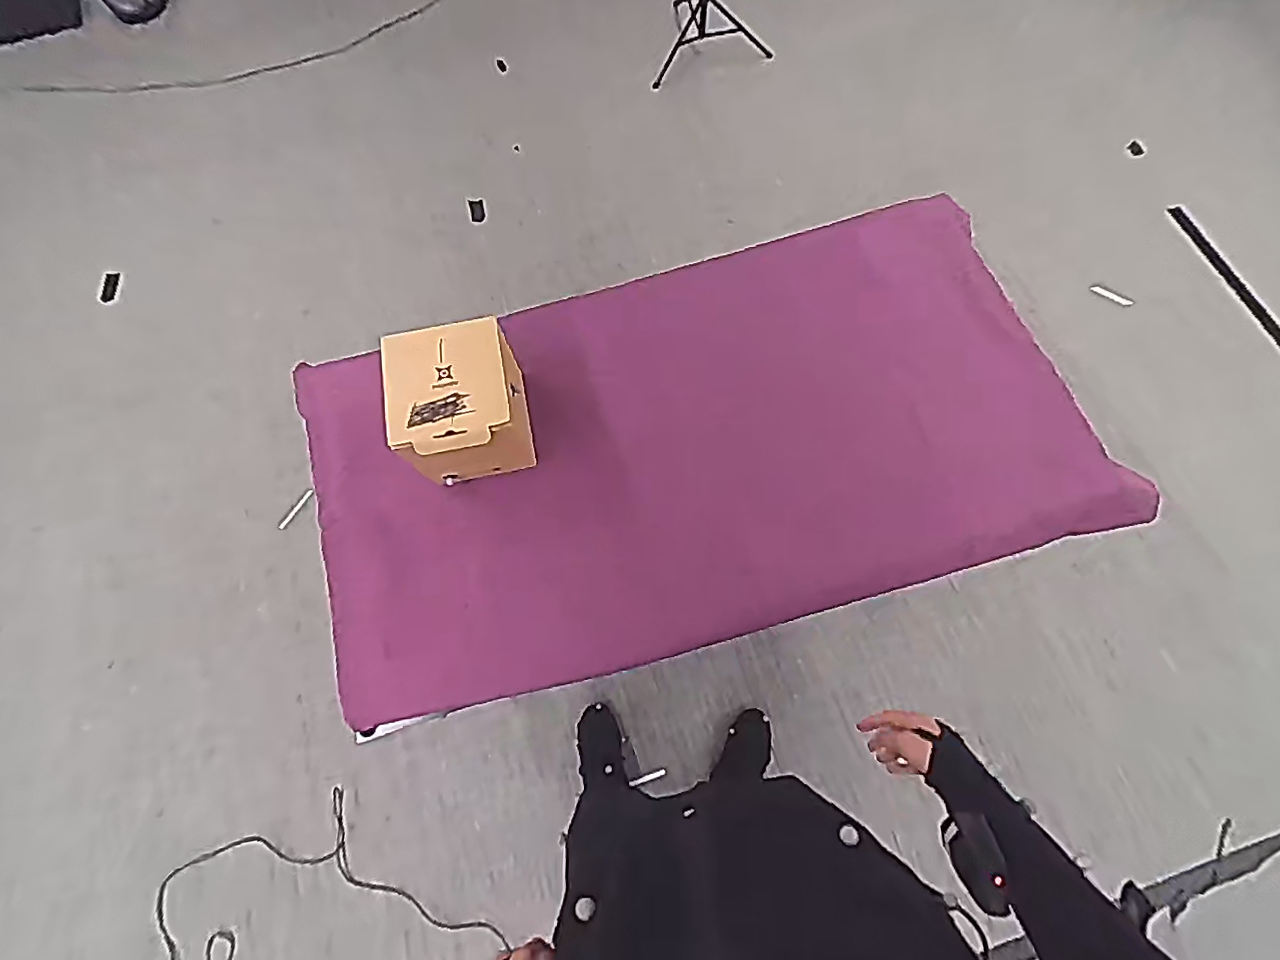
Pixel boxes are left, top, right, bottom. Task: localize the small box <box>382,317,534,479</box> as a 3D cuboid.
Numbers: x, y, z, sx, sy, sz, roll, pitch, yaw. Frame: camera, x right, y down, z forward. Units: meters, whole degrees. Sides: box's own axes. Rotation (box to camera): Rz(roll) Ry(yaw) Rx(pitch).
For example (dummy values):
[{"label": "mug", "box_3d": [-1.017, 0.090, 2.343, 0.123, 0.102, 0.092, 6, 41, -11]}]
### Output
[{"label": "small box", "box_3d": [-0.264, -0.111, 0.811, 0.168, 0.176, 0.179, -12, 72, -3]}]
